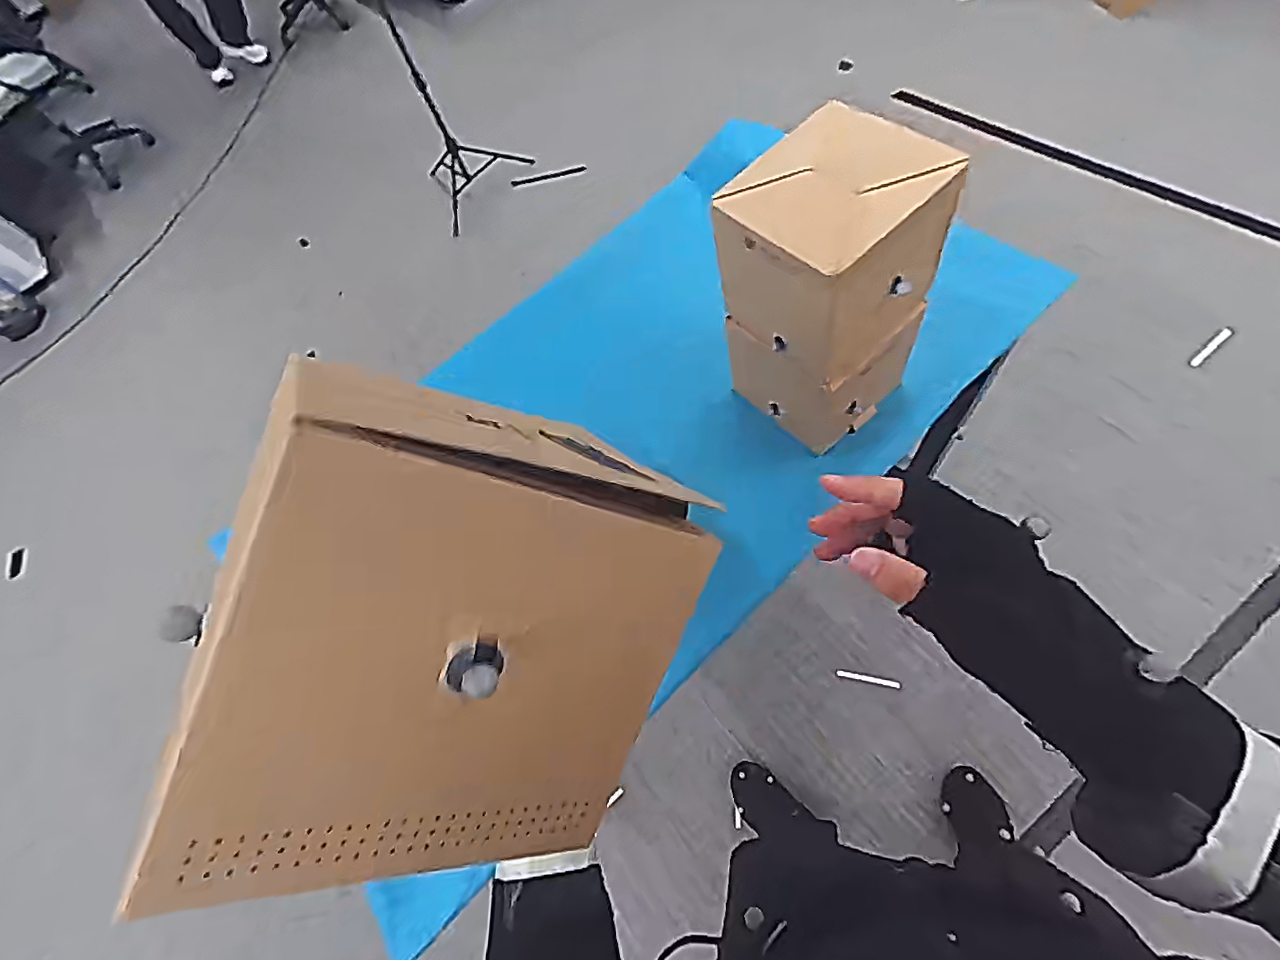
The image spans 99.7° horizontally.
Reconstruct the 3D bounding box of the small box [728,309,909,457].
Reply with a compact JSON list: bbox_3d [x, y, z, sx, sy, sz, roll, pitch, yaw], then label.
[{"bbox_3d":[0.234,-0.169,0.727,0.168,0.176,0.179,-42,63,-8],"label":"small box"}]

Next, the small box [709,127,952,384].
[{"bbox_3d":[0.199,-0.246,0.586,0.179,0.176,0.168,-42,61,-5],"label":"small box"}]

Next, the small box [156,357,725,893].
[{"bbox_3d":[-0.096,0.058,0.274,0.168,0.179,0.176,32,101,54],"label":"small box"}]
